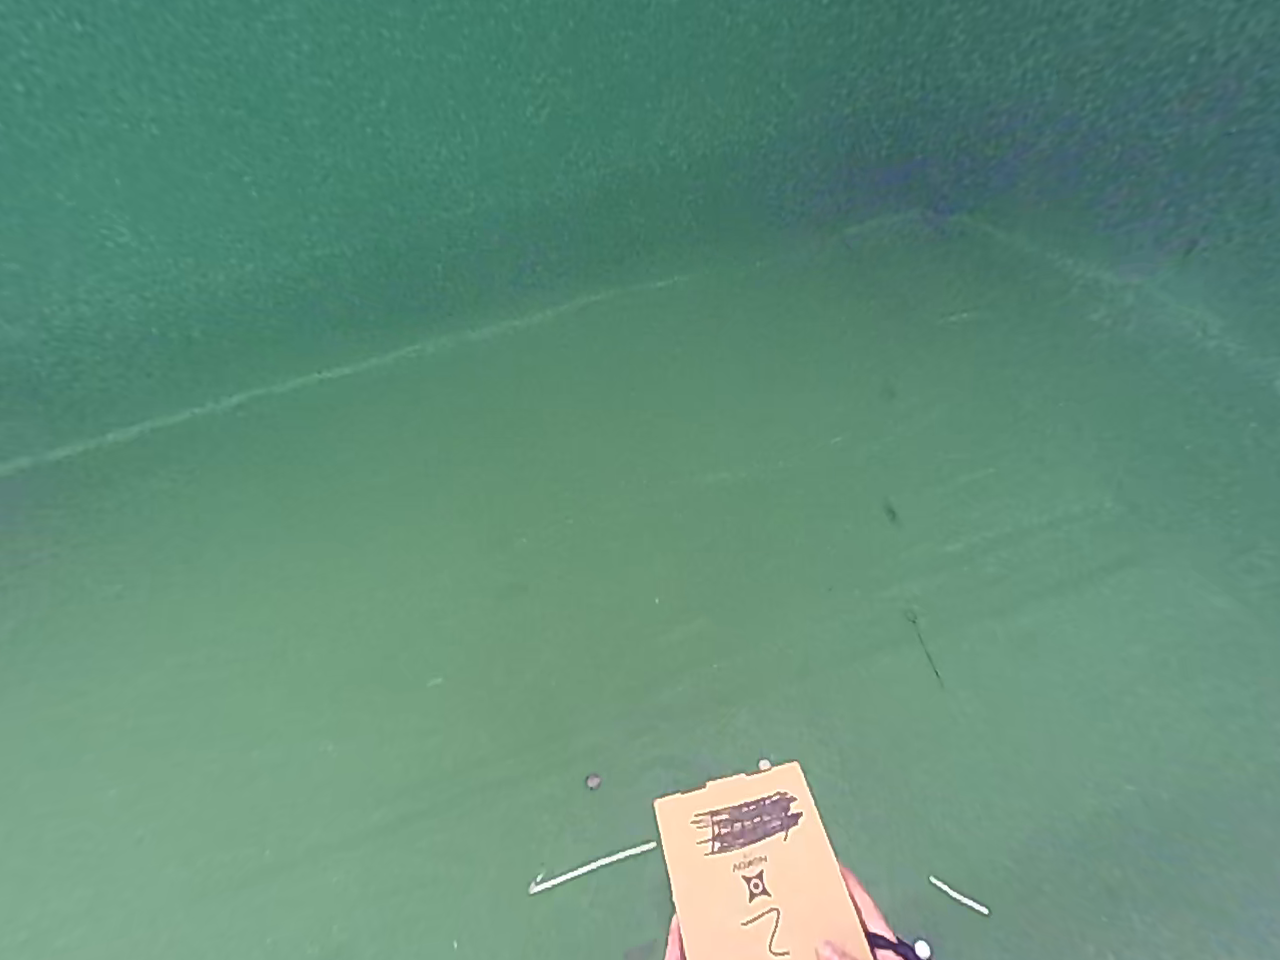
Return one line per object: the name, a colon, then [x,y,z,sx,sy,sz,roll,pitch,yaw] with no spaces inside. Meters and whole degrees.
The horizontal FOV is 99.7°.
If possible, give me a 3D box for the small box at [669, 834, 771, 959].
small box: [0.167,0.903,1.171,0.168,0.176,0.179,-16,50,-5]
